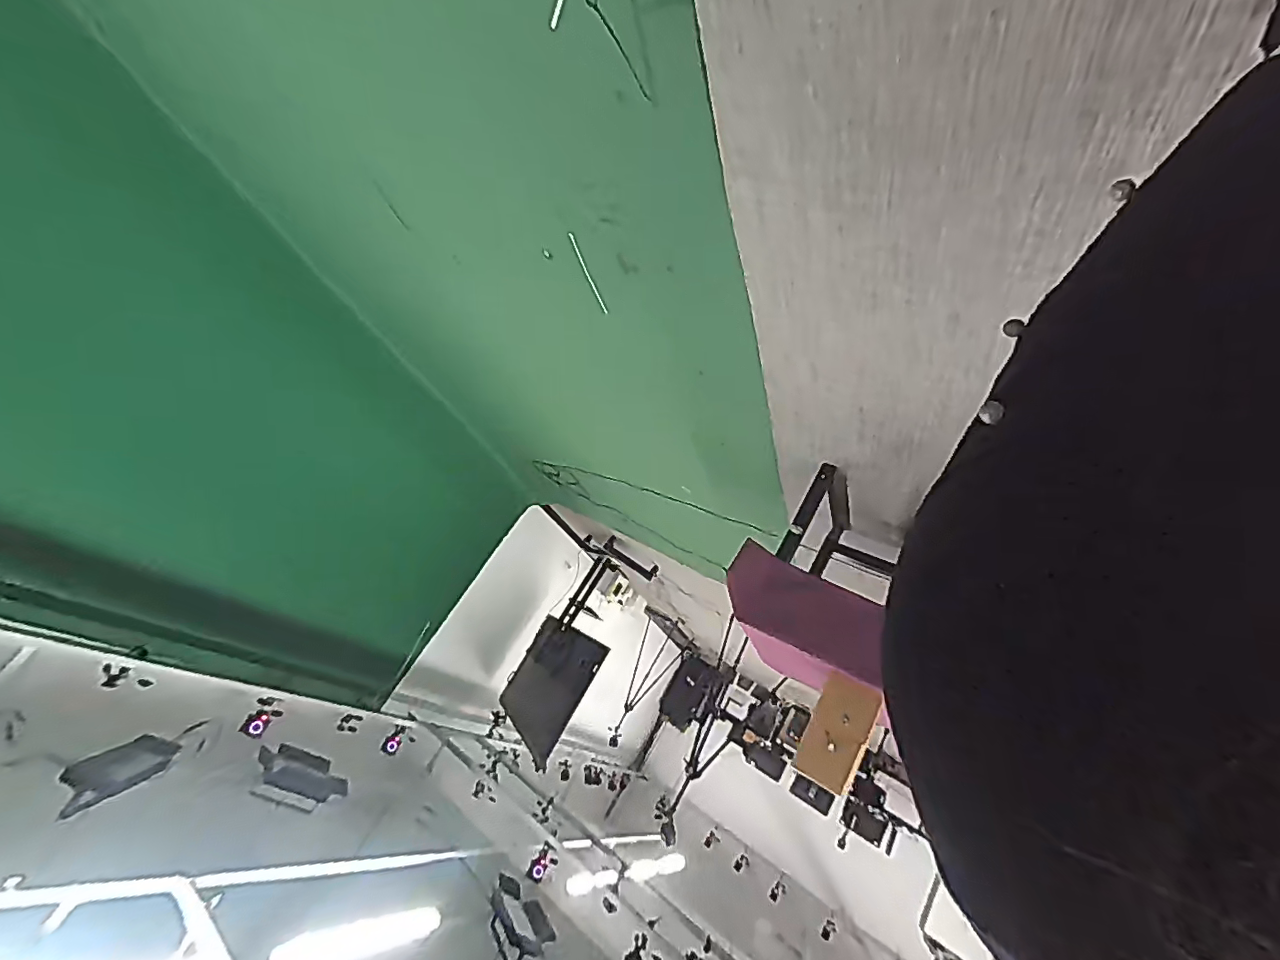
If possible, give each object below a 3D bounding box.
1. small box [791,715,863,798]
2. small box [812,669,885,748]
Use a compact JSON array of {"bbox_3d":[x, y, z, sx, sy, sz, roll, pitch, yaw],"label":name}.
[{"bbox_3d":[0.606,0.886,1.737,0.168,0.176,0.179,20,158,34],"label":"small box"},{"bbox_3d":[0.689,0.750,1.781,0.179,0.176,0.168,22,159,31],"label":"small box"}]
